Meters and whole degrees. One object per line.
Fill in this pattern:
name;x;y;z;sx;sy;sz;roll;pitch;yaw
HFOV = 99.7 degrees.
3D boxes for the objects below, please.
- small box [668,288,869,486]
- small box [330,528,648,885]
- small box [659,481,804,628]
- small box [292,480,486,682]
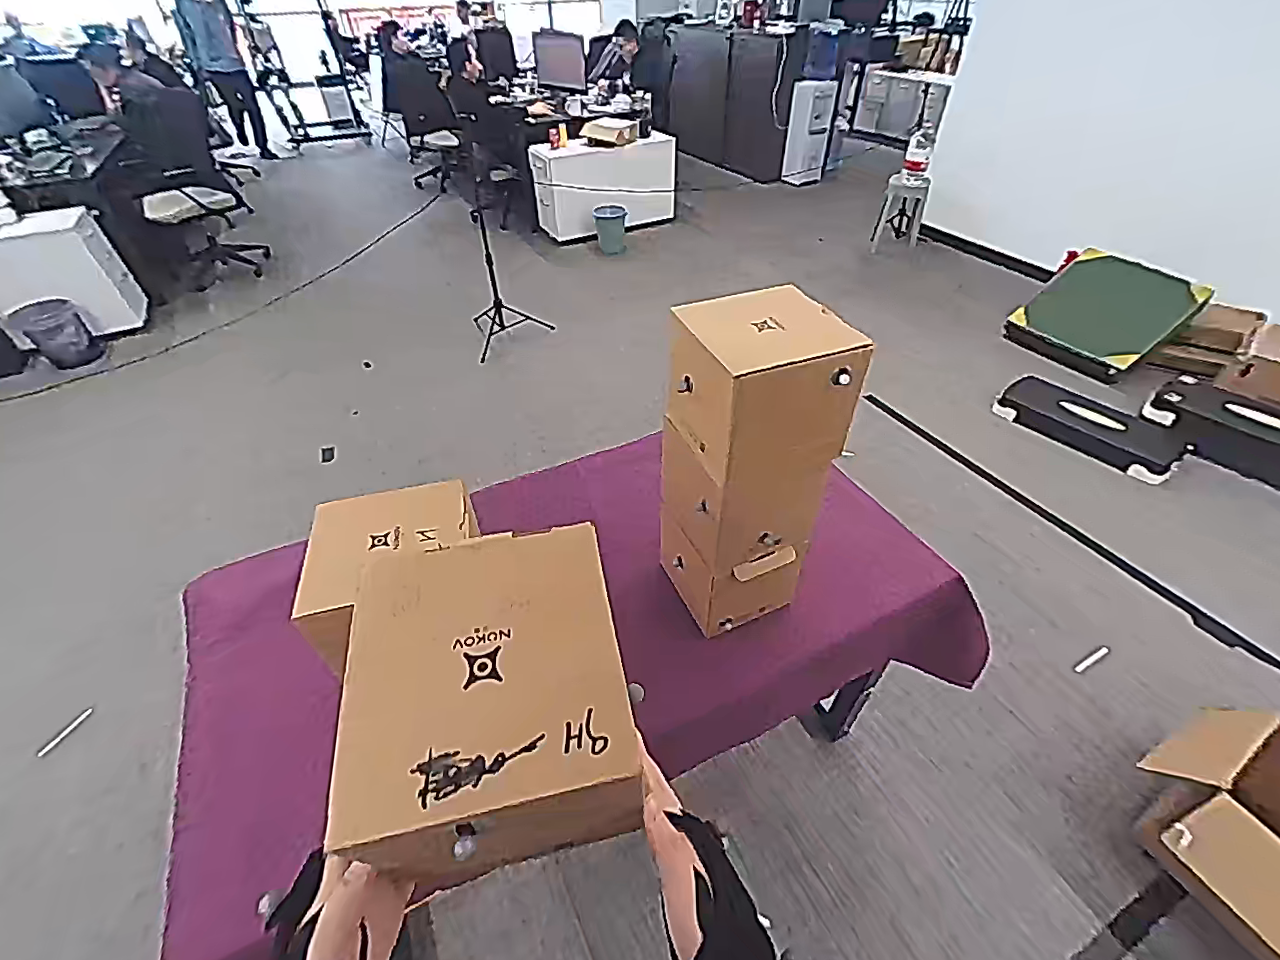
small box;0.145;-0.115;0.674;0.179;0.176;0.168;-15;45;-15
small box;-0.092;0.163;0.395;0.168;0.176;0.179;-10;48;-8
small box;0.143;0.121;0.899;0.168;0.176;0.179;-18;45;-17
small box;-0.283;0.127;0.665;0.179;0.176;0.168;-10;45;-11
